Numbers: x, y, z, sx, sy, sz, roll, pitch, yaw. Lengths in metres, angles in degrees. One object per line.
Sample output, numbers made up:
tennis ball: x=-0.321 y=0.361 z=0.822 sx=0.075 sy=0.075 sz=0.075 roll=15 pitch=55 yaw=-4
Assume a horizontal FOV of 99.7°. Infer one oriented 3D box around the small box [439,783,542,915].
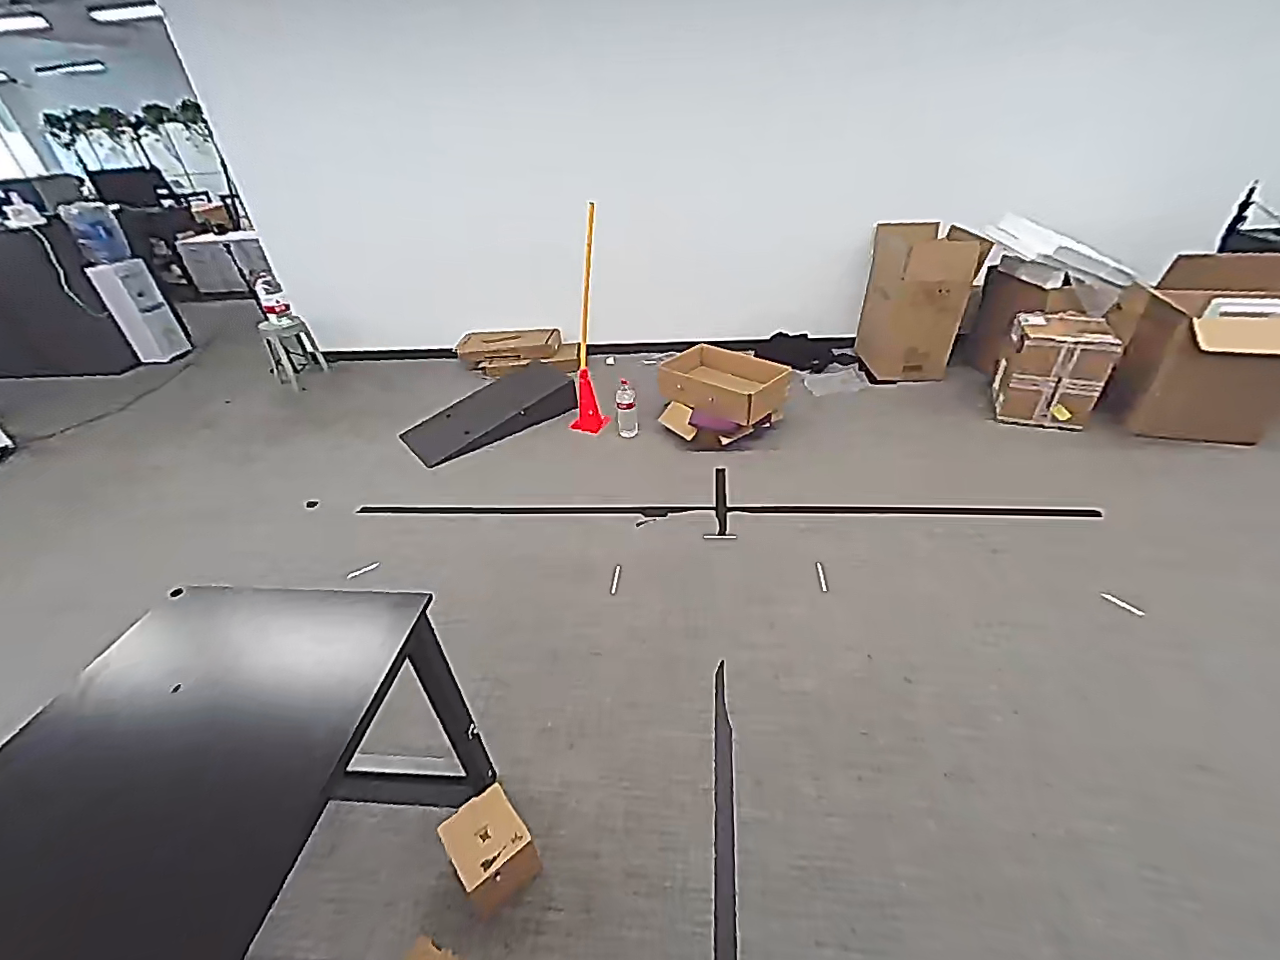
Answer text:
small box: x=-0.360 y=0.897 z=1.315 sx=0.168 sy=0.176 sz=0.179 roll=-29 pitch=42 yaw=-30
